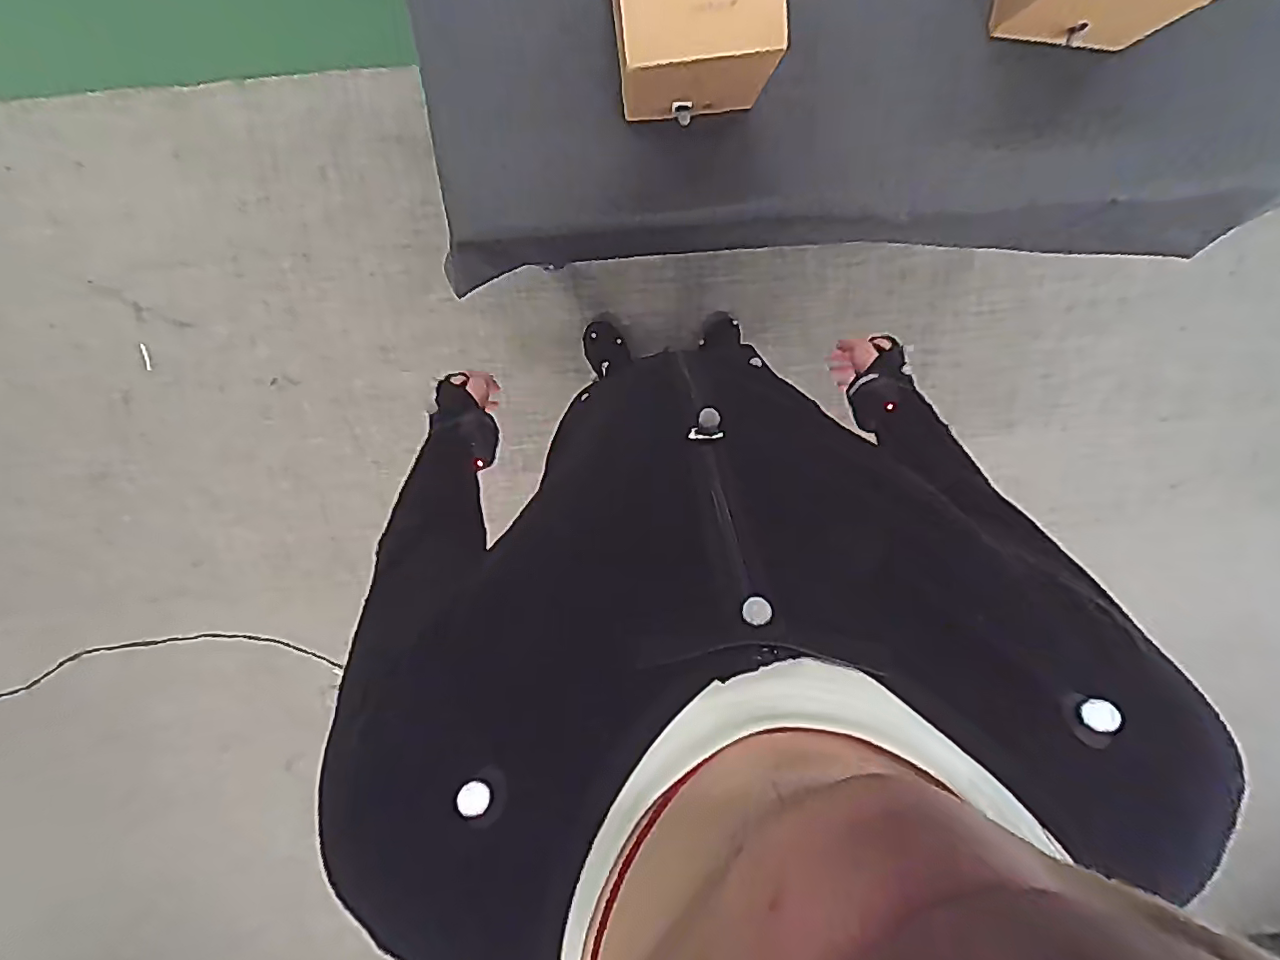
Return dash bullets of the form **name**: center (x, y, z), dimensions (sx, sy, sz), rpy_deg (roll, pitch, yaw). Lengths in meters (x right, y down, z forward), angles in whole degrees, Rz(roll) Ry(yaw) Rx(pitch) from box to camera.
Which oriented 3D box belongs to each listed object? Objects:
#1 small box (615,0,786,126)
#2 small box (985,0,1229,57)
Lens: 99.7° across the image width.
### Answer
- **small box**: center (0.056, -0.518, 0.588), dimensions (0.168, 0.176, 0.179), rpy_deg (-5, 107, 2)
- **small box**: center (0.532, -0.601, 0.594), dimensions (0.179, 0.176, 0.168), rpy_deg (4, 107, -3)
